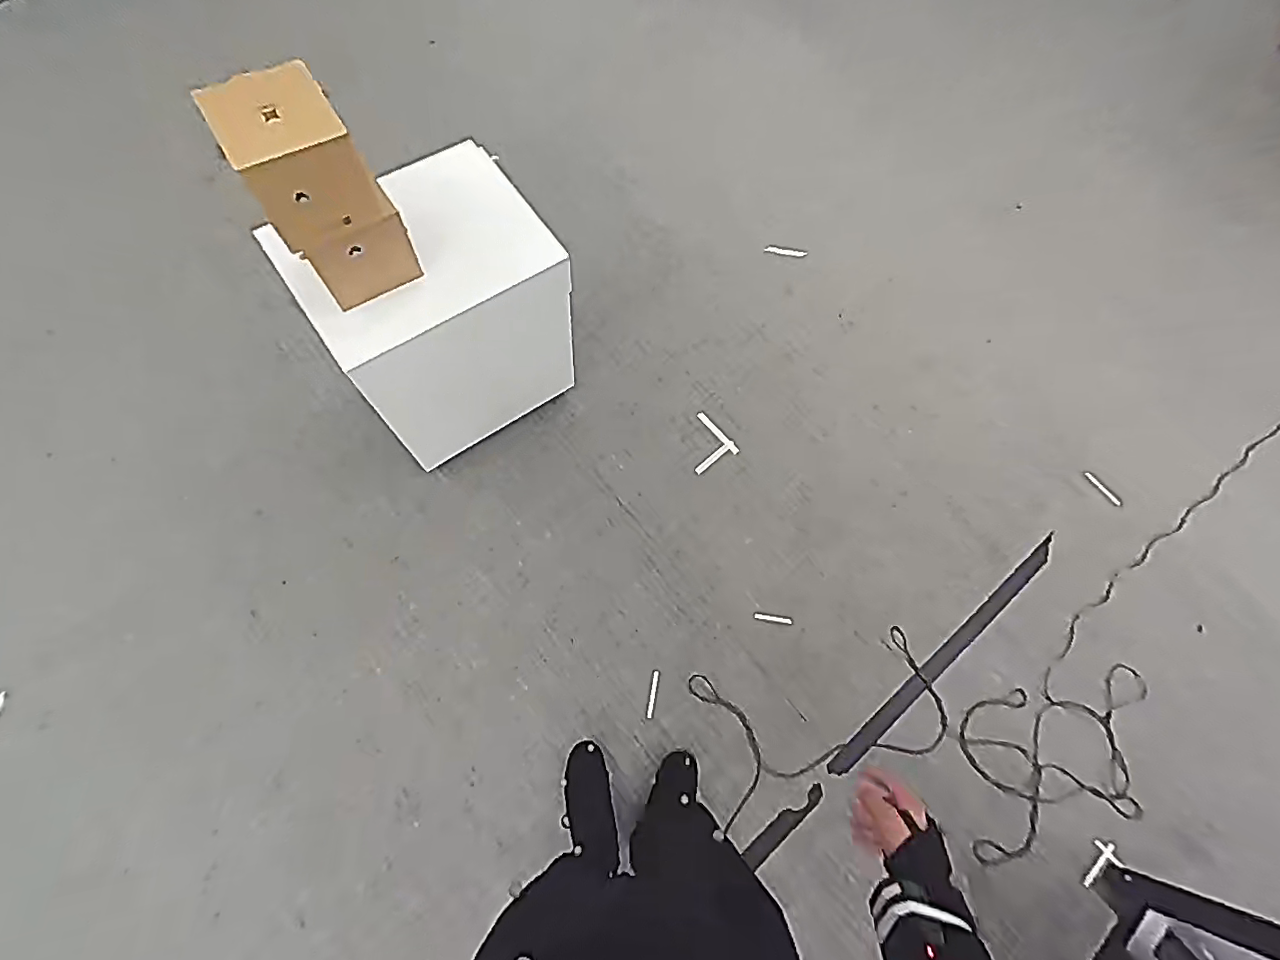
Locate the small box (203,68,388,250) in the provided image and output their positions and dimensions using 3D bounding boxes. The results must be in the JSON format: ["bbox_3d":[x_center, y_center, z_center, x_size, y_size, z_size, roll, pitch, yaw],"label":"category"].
[{"bbox_3d":[-0.541,-0.505,0.875,0.168,0.176,0.179,-31,76,-15],"label":"small box"}]

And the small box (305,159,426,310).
[{"bbox_3d":[-0.542,-0.460,1.032,0.179,0.176,0.168,-32,77,-16],"label":"small box"}]
